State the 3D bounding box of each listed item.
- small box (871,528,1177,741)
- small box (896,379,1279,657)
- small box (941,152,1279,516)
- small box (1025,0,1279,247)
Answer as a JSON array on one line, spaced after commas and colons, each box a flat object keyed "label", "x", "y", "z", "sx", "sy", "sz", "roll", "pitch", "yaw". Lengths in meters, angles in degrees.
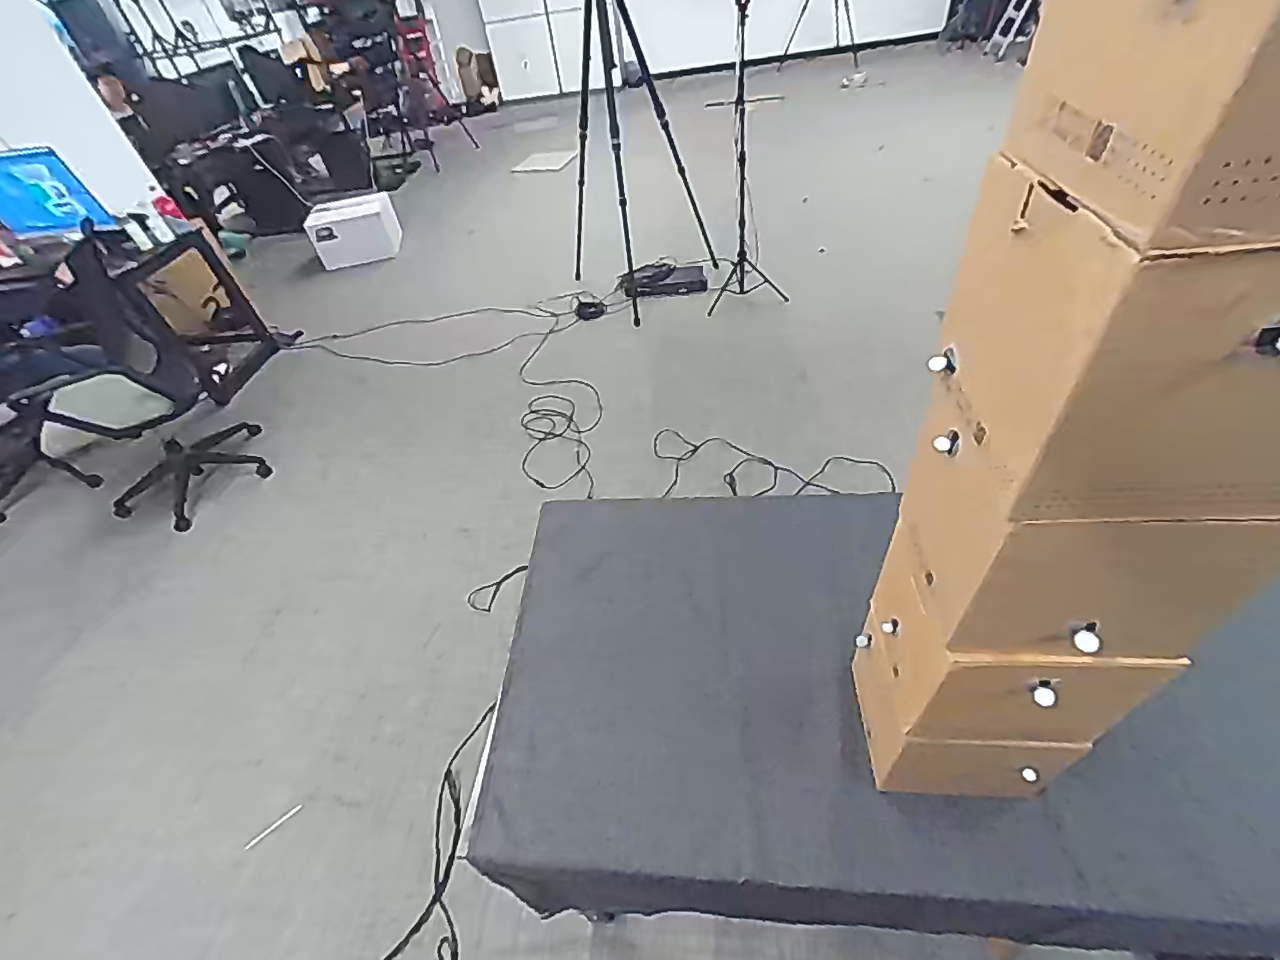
[{"label": "small box", "x": 0.354, "y": 0.149, "z": 0.547, "sx": 0.179, "sy": 0.176, "sz": 0.168, "roll": -2, "pitch": 44, "yaw": 8}, {"label": "small box", "x": 0.332, "y": 0.029, "z": 0.438, "sx": 0.179, "sy": 0.176, "sz": 0.168, "roll": 0, "pitch": 44, "yaw": 9}, {"label": "small box", "x": 0.306, "y": -0.090, "z": 0.328, "sx": 0.179, "sy": 0.176, "sz": 0.168, "roll": -1, "pitch": 45, "yaw": 8}, {"label": "small box", "x": 0.289, "y": -0.206, "z": 0.213, "sx": 0.179, "sy": 0.176, "sz": 0.168, "roll": 0, "pitch": 46, "yaw": 11}]
